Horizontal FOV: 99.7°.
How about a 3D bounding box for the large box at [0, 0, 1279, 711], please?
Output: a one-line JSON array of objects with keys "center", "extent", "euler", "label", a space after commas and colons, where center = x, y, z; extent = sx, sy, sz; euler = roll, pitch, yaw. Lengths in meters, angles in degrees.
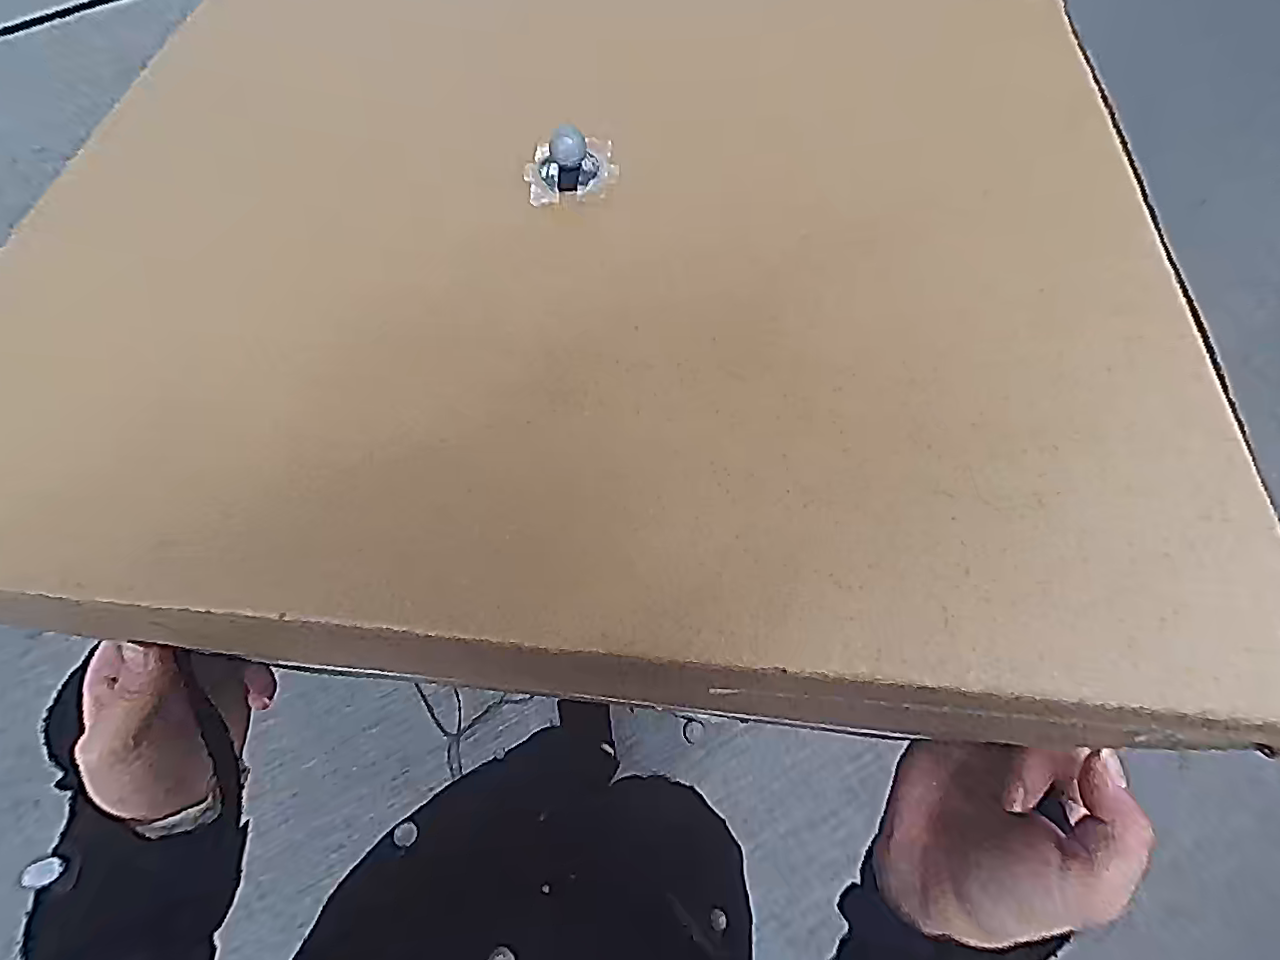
[{"center": [-0.024, -0.049, 0.330], "extent": [0.408, 0.320, 0.320], "euler": [3, 67, 5], "label": "large box"}]
